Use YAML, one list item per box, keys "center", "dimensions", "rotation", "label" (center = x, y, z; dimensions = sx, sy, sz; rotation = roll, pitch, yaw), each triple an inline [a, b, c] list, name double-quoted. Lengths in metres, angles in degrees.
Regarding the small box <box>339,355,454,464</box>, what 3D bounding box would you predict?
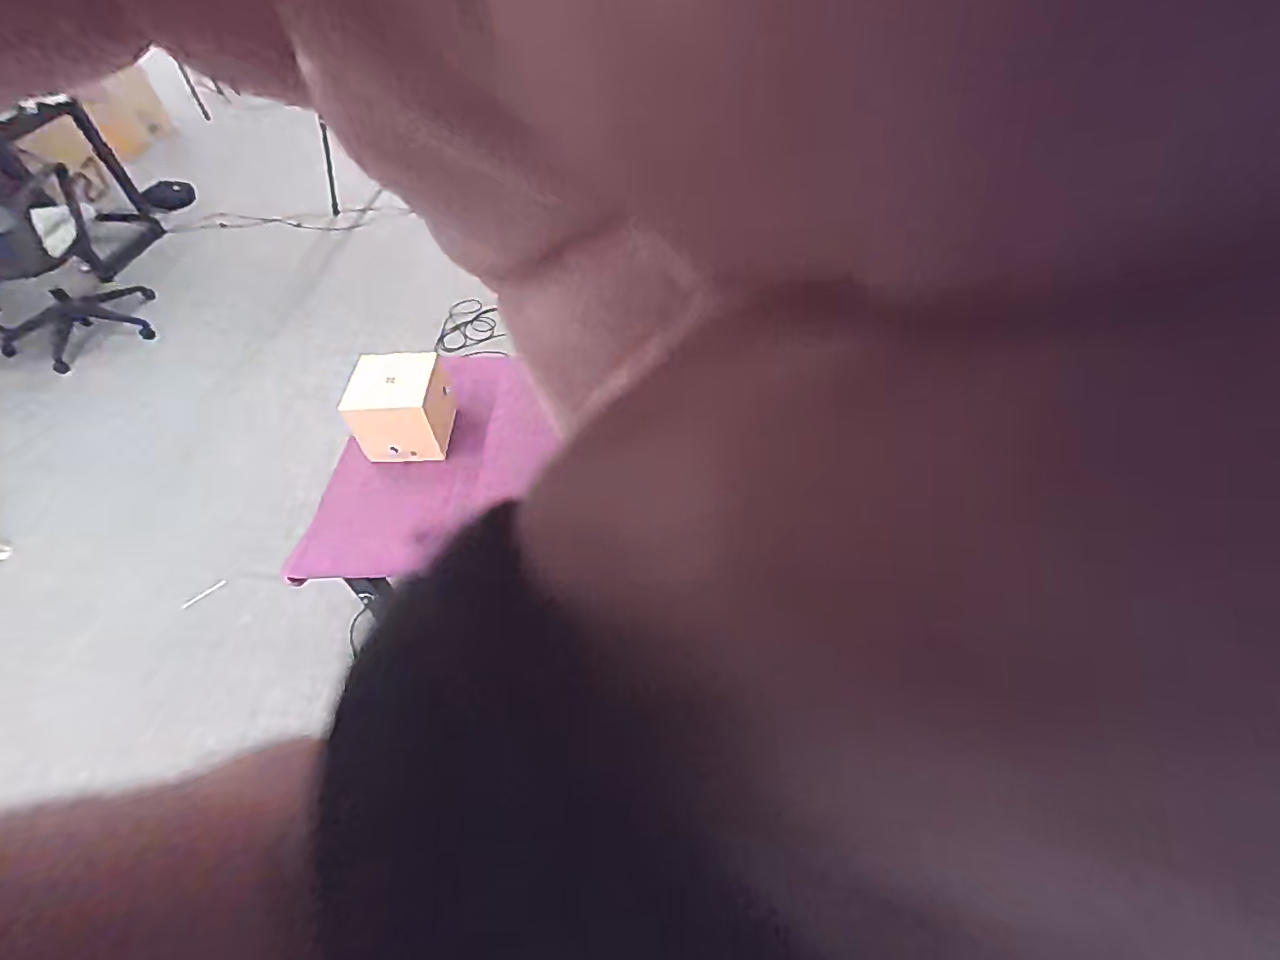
- center: [-0.521, -0.154, 1.187]
  dimensions: [0.168, 0.176, 0.179]
  rotation: [-3, 51, -2]
  label: "small box"
